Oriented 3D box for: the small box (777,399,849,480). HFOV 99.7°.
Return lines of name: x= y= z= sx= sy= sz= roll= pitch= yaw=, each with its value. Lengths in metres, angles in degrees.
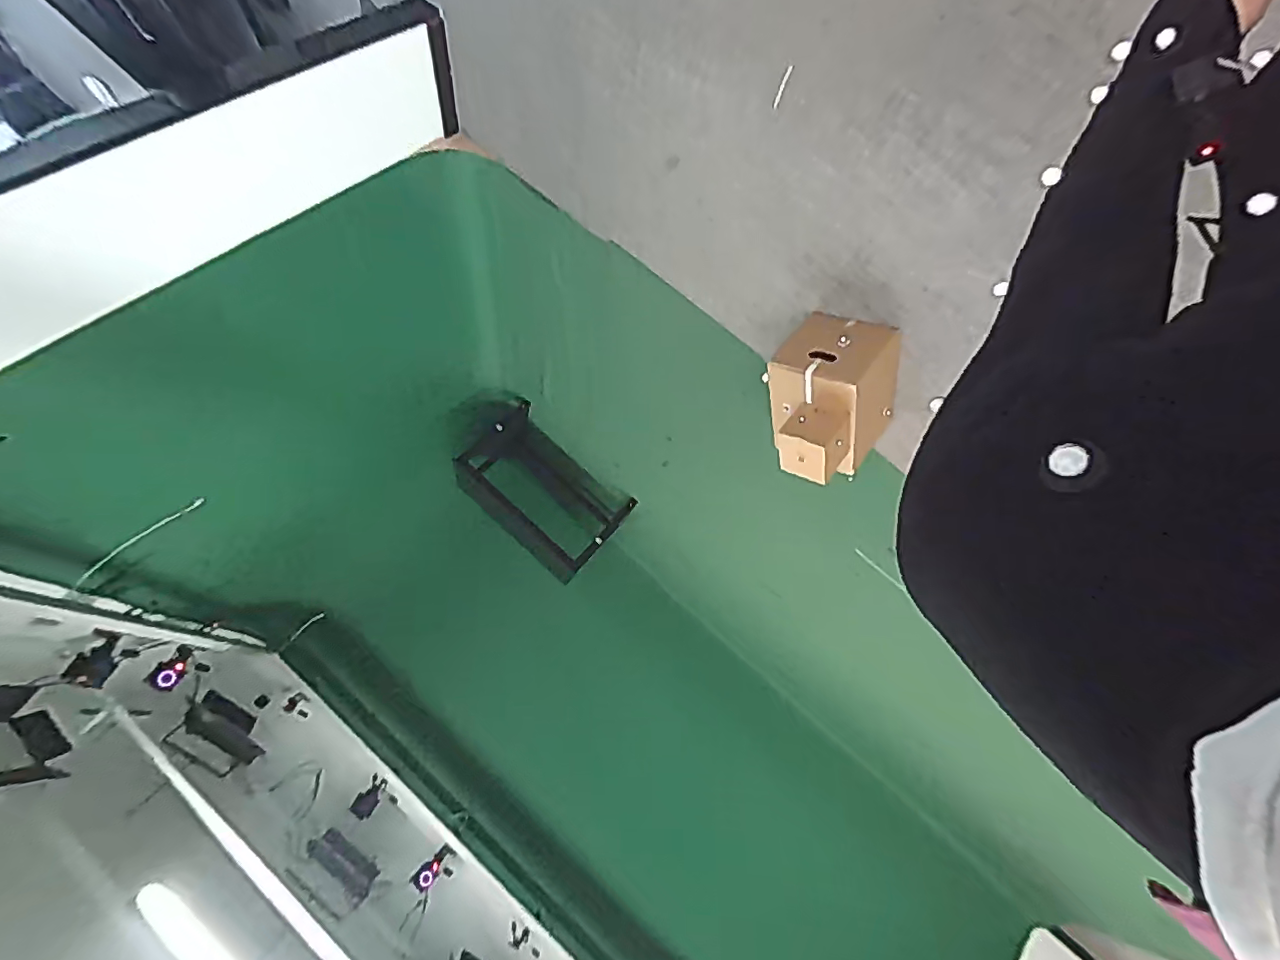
small box: x=0.566 y=-0.136 z=1.764 sx=0.168 sy=0.176 sz=0.179 roll=25 pitch=151 yaw=35
